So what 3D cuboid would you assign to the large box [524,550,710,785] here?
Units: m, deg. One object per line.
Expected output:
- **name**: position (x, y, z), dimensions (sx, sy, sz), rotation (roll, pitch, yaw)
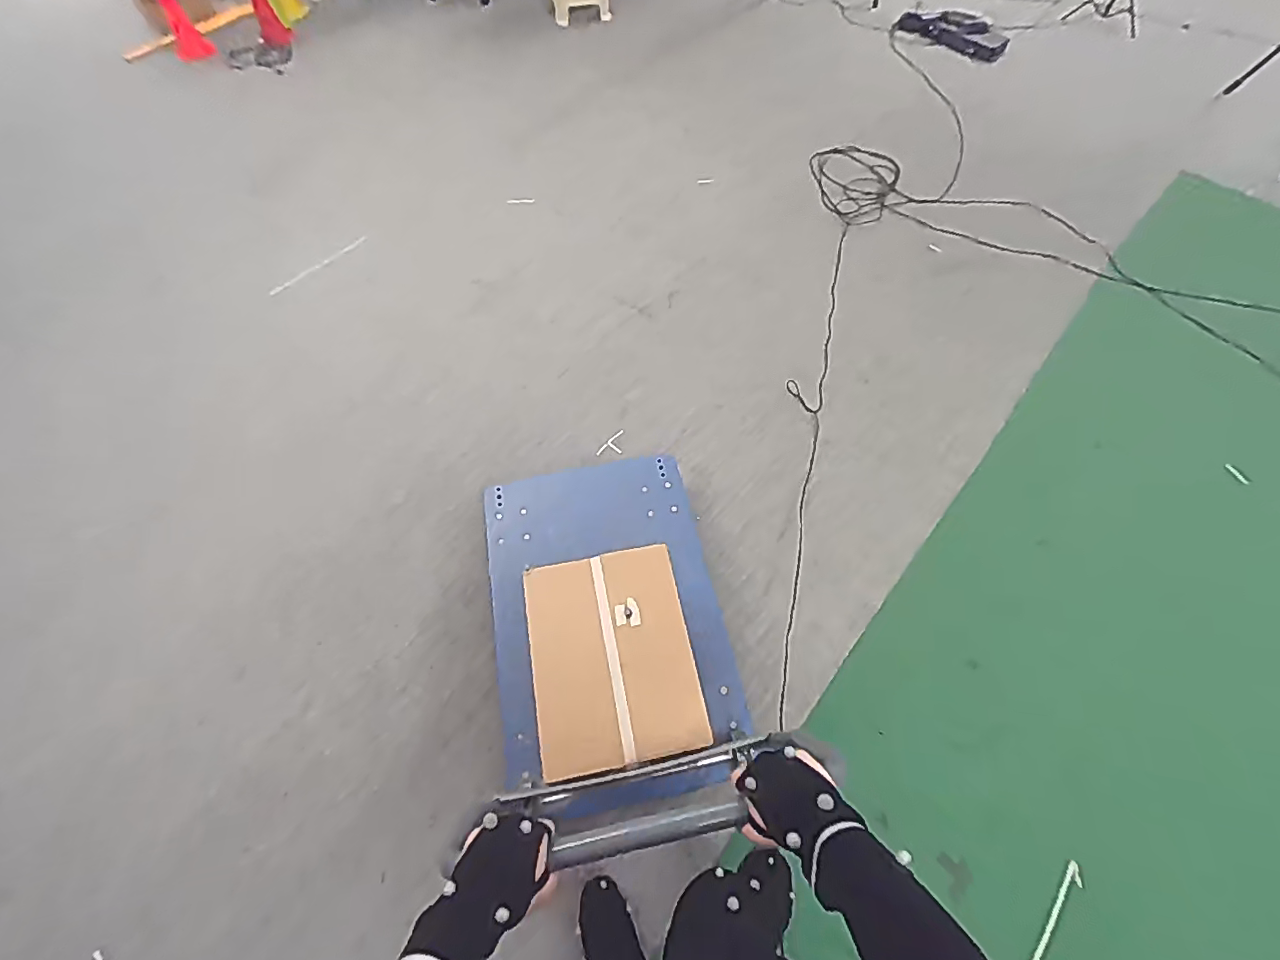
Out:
- **large box**: position (-0.057, 0.423, 1.209), dimensions (0.320, 0.320, 0.408), rotation (-10, 60, -6)
